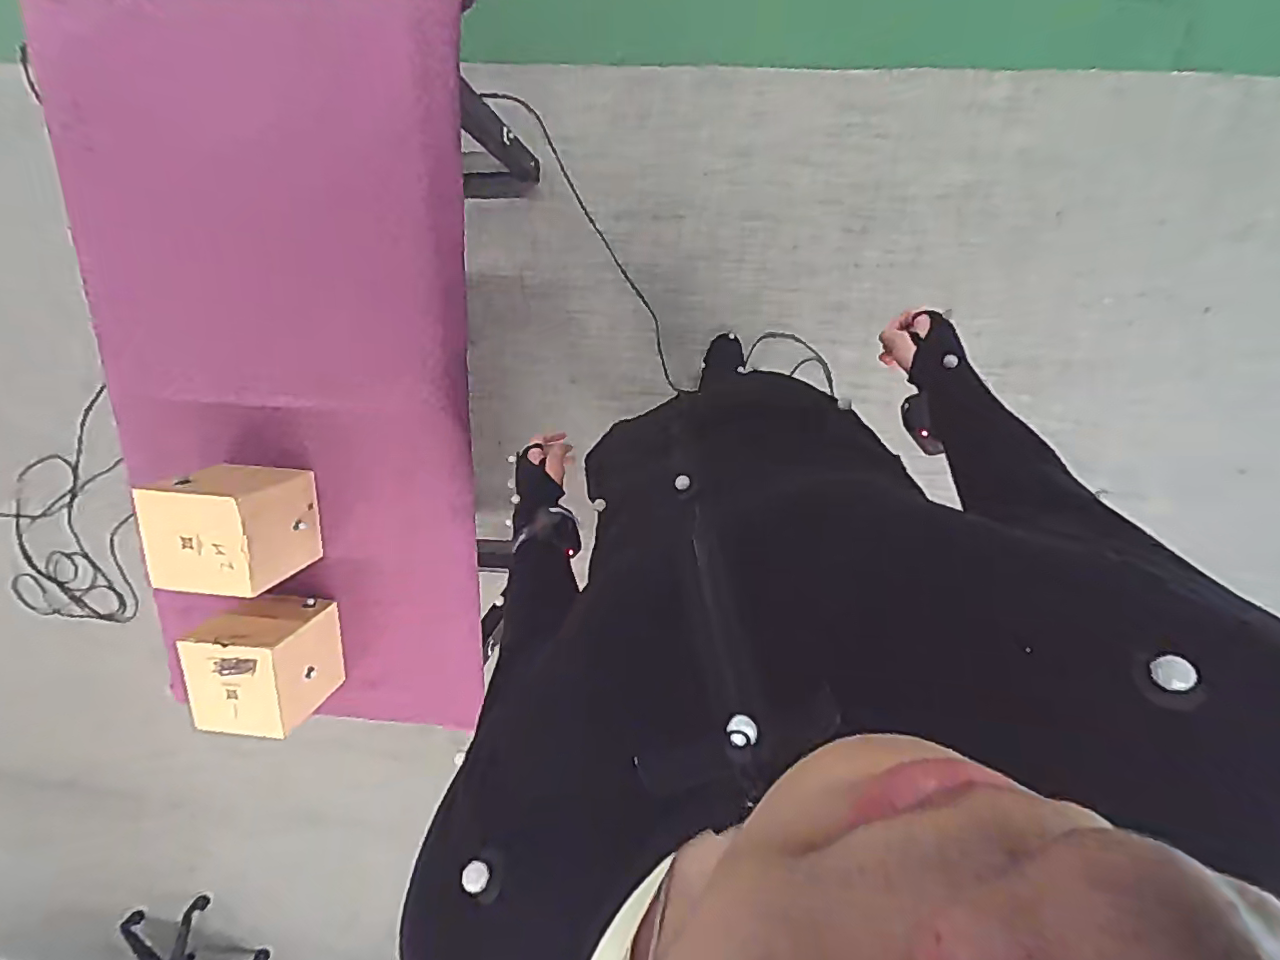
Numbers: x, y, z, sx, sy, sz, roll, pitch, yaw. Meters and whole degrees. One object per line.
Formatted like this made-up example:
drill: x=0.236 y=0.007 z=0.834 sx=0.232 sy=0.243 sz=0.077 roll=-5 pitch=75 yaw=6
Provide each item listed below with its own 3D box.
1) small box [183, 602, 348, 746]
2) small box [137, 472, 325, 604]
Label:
small box: x=-0.652 y=0.335 z=0.962 sx=0.168 sy=0.176 sz=0.179 roll=4 pitch=106 yaw=5
small box: x=-0.664 y=0.087 z=0.899 sx=0.179 sy=0.176 sz=0.168 roll=4 pitch=105 yaw=4
